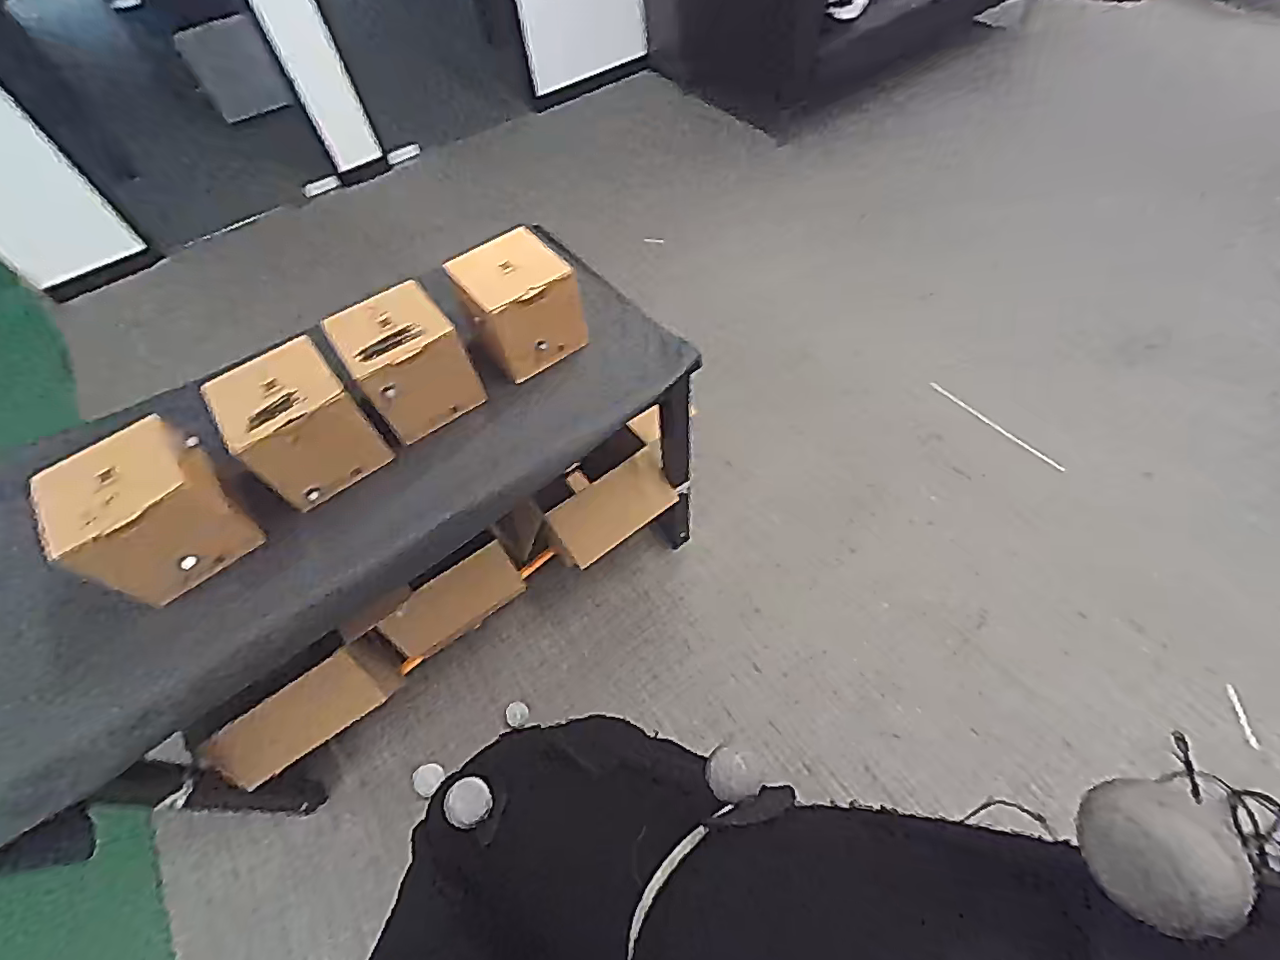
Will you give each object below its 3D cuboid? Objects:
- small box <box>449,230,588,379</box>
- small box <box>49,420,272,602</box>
[{"bbox_3d":[-0.217,-0.321,1.001,0.168,0.176,0.179,-35,61,-16],"label":"small box"},{"bbox_3d":[-0.703,0.050,0.808,0.168,0.176,0.179,-38,62,-17],"label":"small box"}]
